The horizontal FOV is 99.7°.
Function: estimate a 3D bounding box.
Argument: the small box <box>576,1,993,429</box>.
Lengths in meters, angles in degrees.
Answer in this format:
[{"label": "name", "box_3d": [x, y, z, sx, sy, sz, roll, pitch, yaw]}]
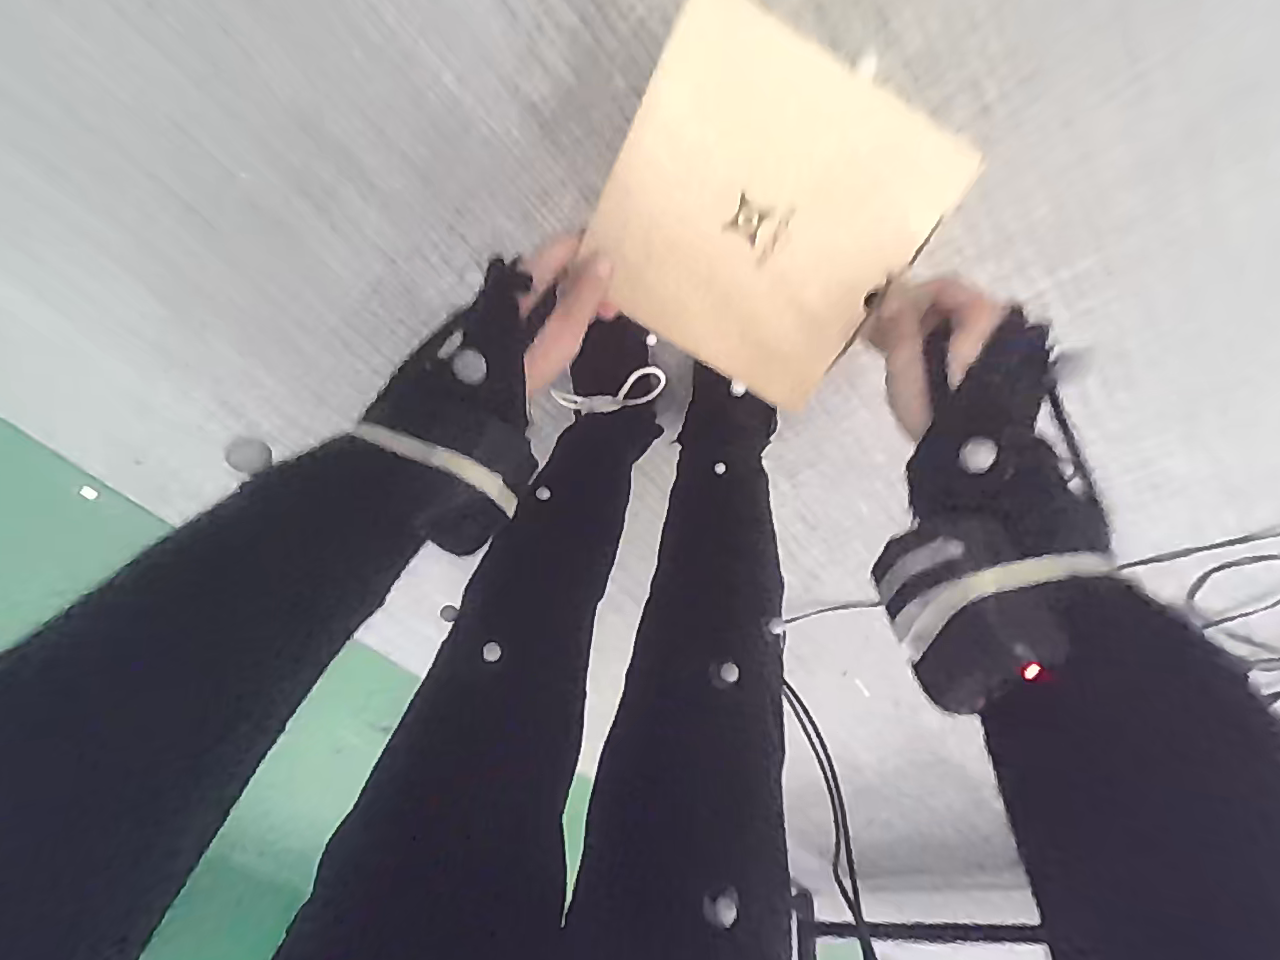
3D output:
[{"label": "small box", "box_3d": [0.085, -0.169, 0.379, 0.179, 0.176, 0.168, 30, 118, -4]}]
